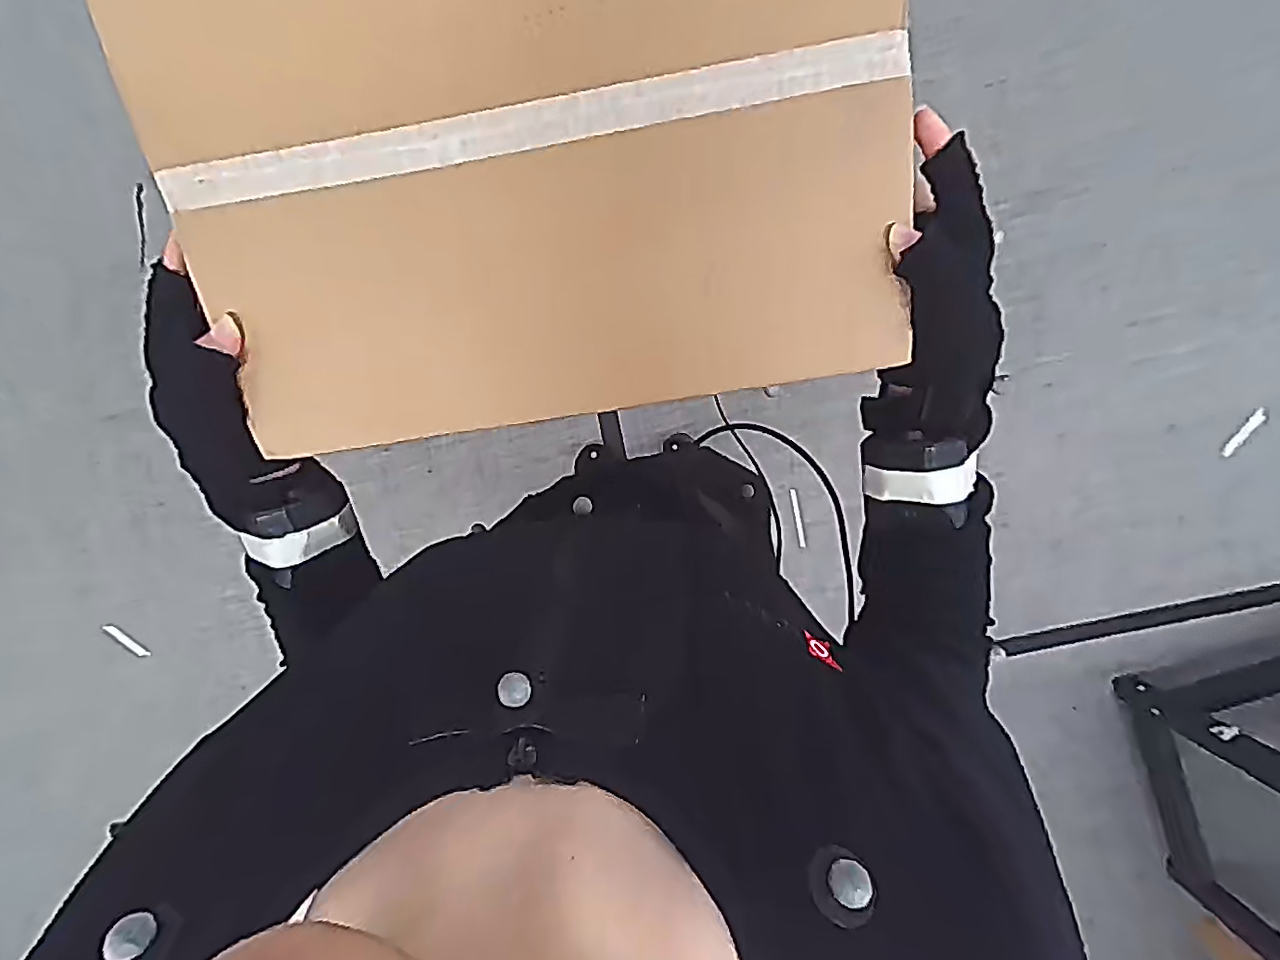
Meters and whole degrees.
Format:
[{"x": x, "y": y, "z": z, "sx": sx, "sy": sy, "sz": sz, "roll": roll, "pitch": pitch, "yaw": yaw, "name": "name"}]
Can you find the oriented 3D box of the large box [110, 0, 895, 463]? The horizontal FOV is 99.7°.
[{"x": -0.060, "y": -0.231, "z": 0.440, "sx": 0.408, "sy": 0.320, "sz": 0.320, "roll": -8, "pitch": 107, "yaw": 4, "name": "large box"}]
